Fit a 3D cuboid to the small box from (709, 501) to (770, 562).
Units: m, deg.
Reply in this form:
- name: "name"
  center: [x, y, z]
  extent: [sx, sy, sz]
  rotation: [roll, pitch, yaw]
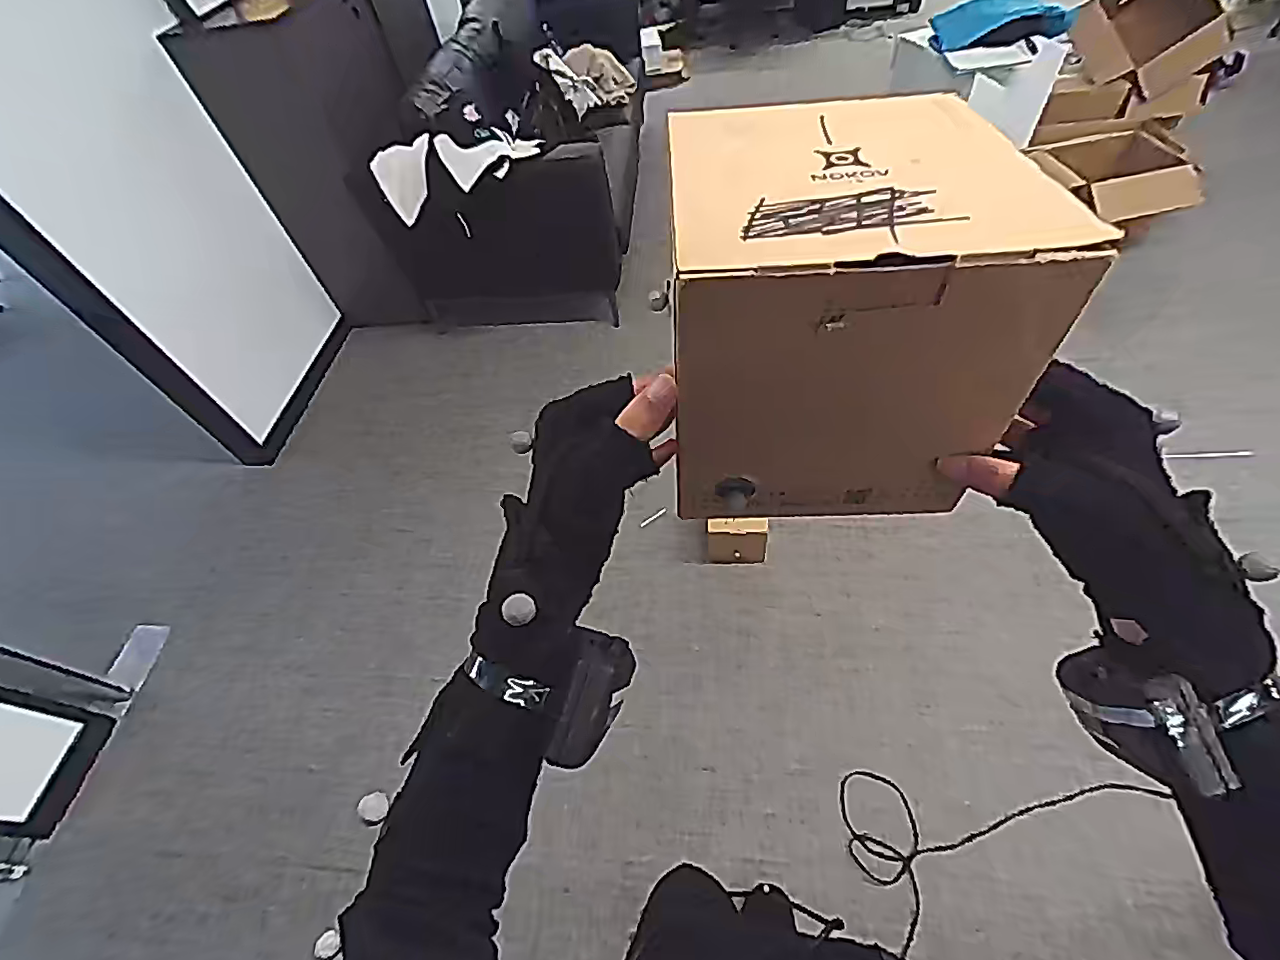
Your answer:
- name: "small box"
  center: [0.287, 0.121, 1.585]
  extent: [0.168, 0.176, 0.179]
  rotation: [-1, 54, 8]

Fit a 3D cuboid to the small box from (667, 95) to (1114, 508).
- name: "small box"
  center: [0.102, -0.094, 0.317]
  extent: [0.168, 0.176, 0.179]
  rotation: [-2, 50, 3]
